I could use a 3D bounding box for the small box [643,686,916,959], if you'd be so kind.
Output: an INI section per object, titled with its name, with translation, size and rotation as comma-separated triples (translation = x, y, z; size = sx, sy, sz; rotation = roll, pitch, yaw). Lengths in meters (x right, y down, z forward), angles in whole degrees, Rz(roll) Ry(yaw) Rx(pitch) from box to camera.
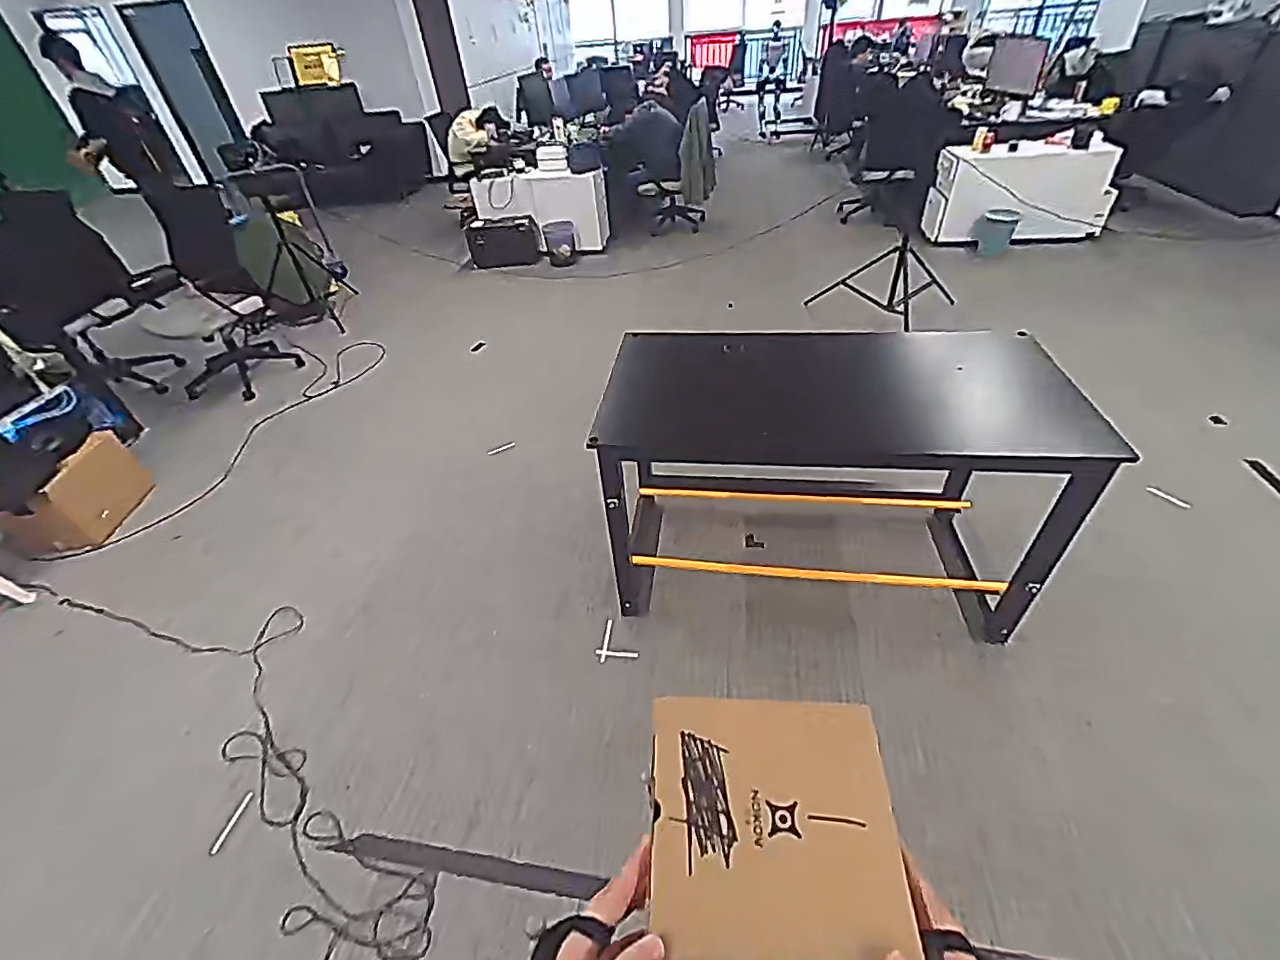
[small box]
translation = 0.096, 0.289, 0.456
size = 0.179, 0.176, 0.168
rotation = 1, 49, 3
